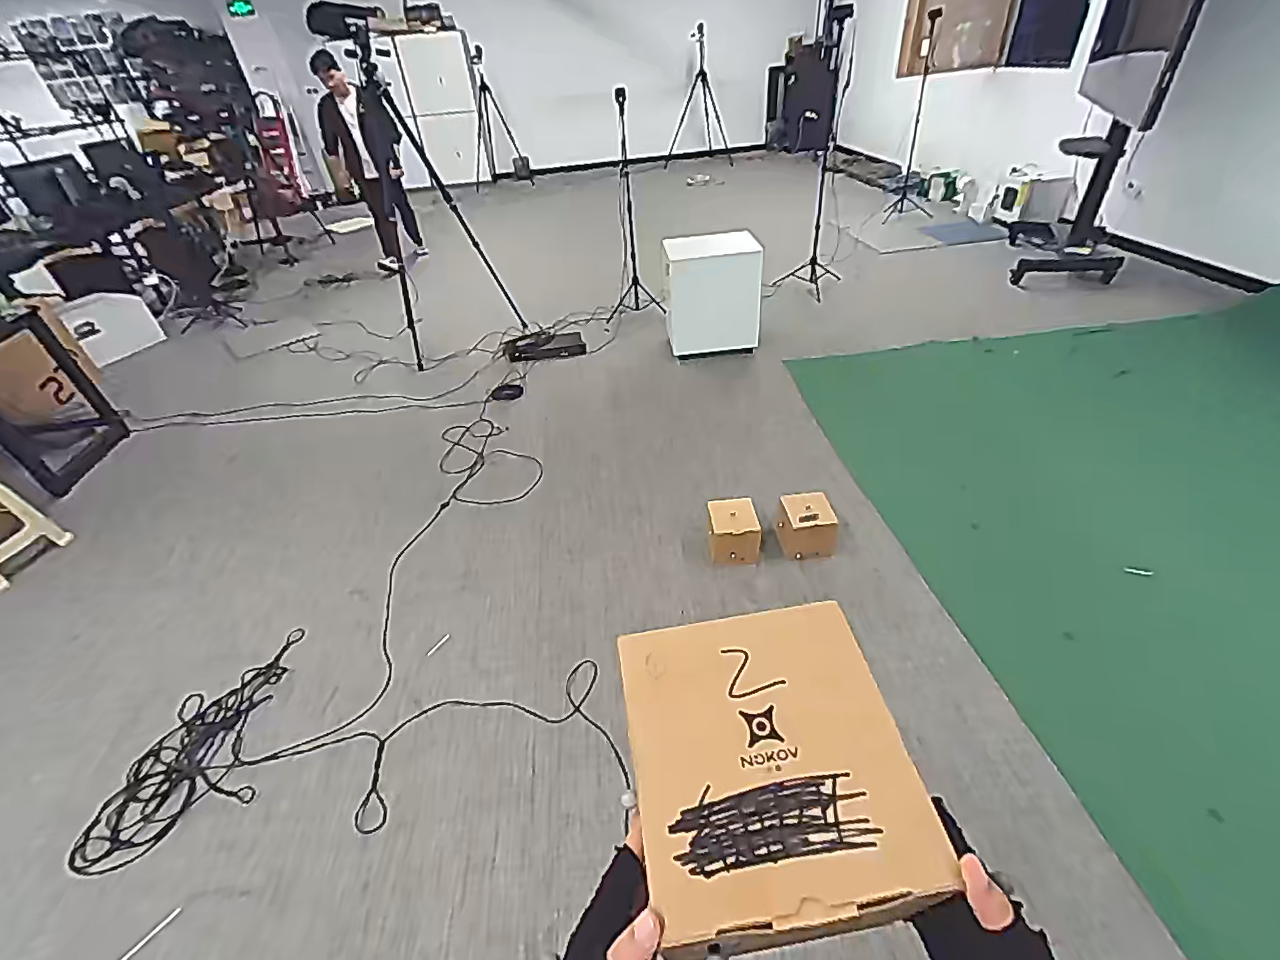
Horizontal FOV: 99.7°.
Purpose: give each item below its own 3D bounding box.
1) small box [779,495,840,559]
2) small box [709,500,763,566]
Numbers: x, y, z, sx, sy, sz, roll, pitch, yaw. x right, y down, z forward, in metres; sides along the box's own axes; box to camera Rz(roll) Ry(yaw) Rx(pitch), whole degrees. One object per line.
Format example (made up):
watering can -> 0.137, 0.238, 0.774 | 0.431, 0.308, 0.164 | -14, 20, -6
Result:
small box -> 0.618, 0.179, 1.991 | 0.168, 0.176, 0.179 | -6, 38, -1
small box -> 0.350, 0.197, 1.997 | 0.168, 0.176, 0.179 | -5, 39, -1
